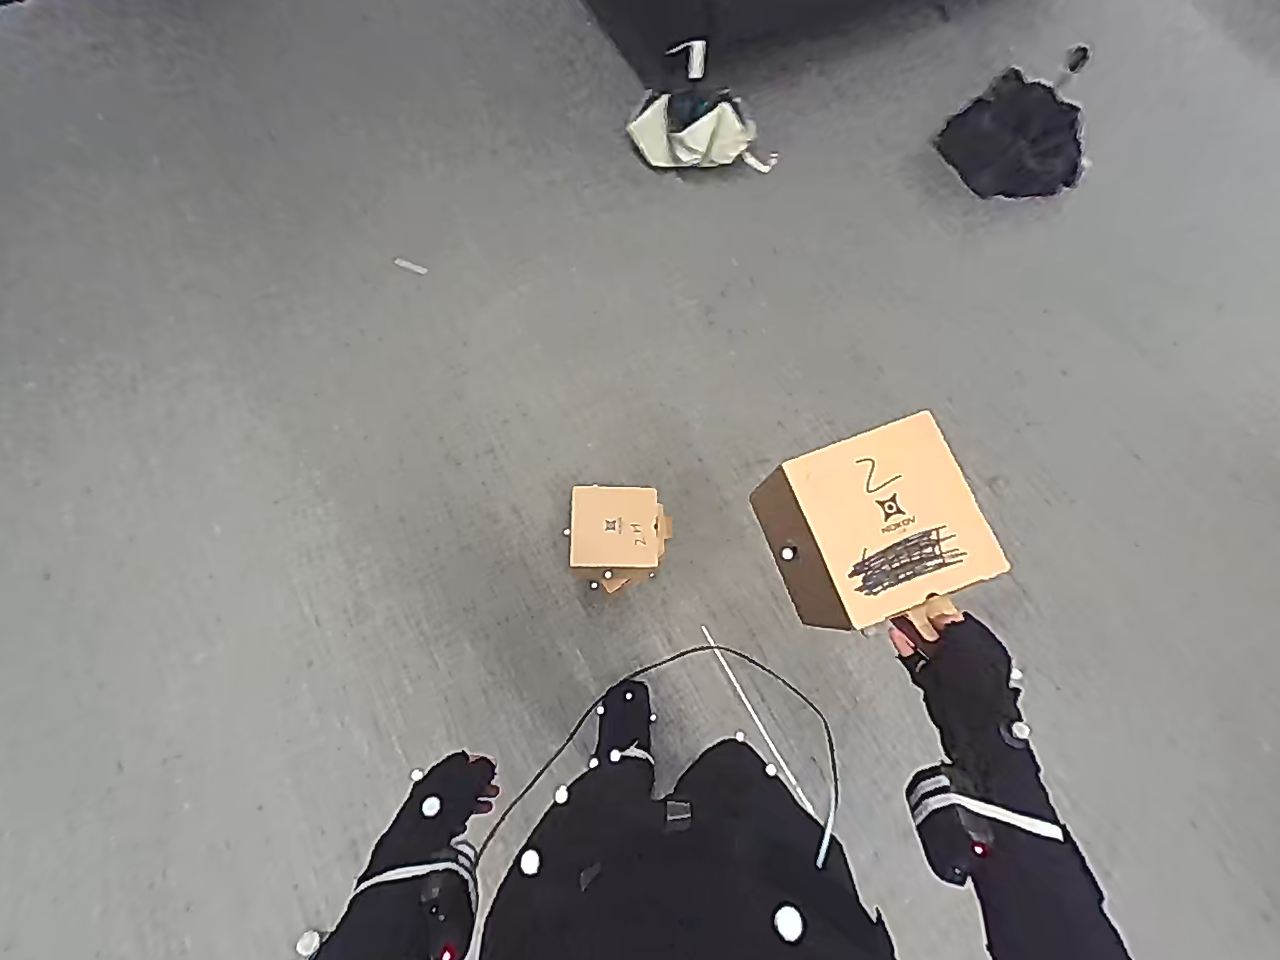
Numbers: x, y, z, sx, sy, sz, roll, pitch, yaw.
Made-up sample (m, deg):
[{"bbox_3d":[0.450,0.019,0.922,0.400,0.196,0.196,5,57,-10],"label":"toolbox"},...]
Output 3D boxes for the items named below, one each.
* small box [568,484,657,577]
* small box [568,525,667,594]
[{"bbox_3d":[-0.060,0.114,1.157,0.179,0.176,0.168,2,72,-6],"label":"small box"},{"bbox_3d":[-0.057,0.159,1.299,0.168,0.176,0.179,-32,77,-15],"label":"small box"}]
